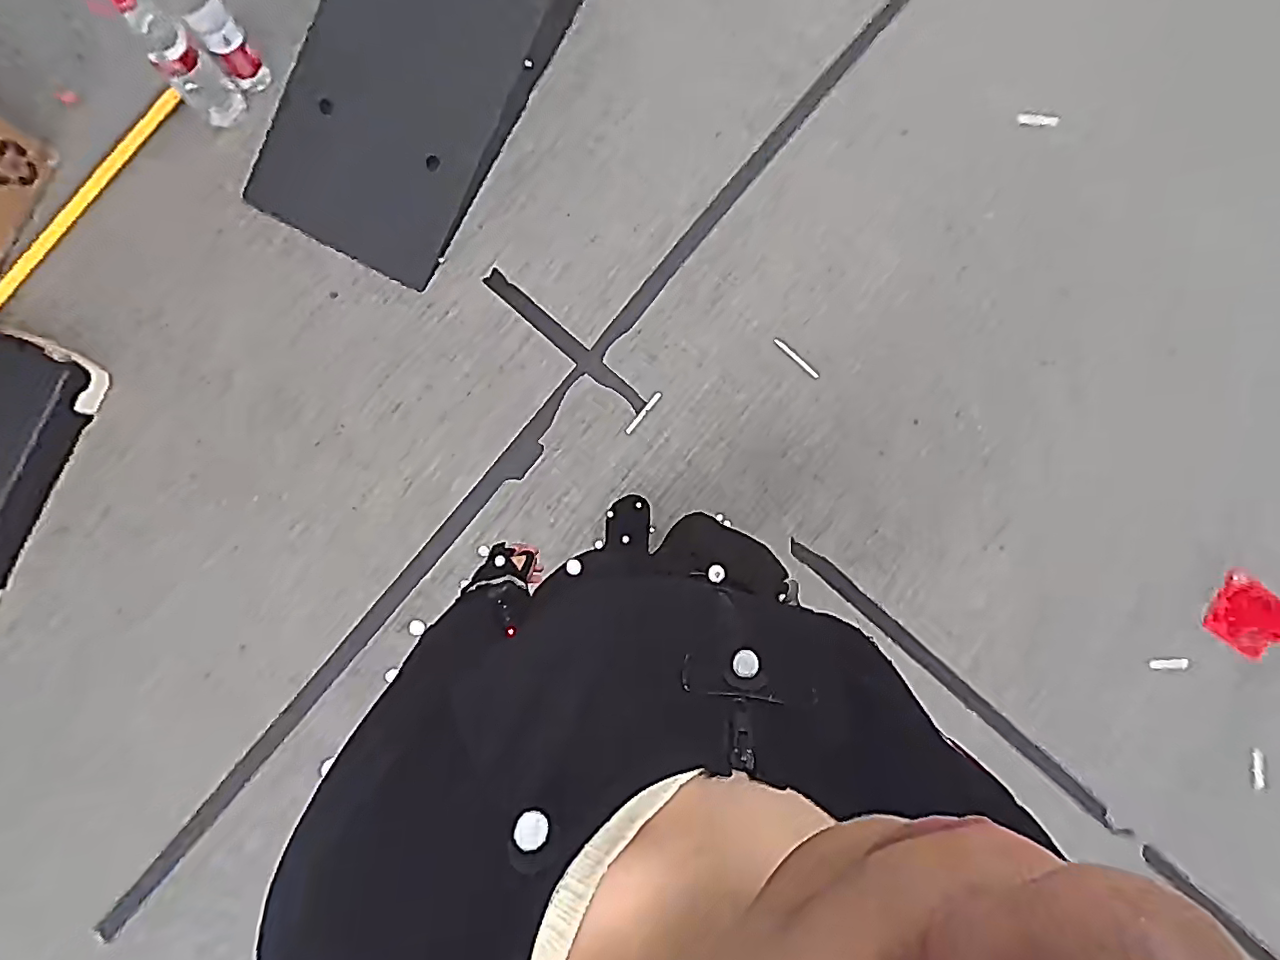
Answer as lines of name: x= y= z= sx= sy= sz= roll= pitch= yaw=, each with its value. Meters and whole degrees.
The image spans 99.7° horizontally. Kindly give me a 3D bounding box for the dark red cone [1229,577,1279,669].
dark red cone: x=1.738 y=0.388 z=1.318 sx=0.202 sy=0.394 sz=0.201 roll=33 pitch=86 yaw=-3
